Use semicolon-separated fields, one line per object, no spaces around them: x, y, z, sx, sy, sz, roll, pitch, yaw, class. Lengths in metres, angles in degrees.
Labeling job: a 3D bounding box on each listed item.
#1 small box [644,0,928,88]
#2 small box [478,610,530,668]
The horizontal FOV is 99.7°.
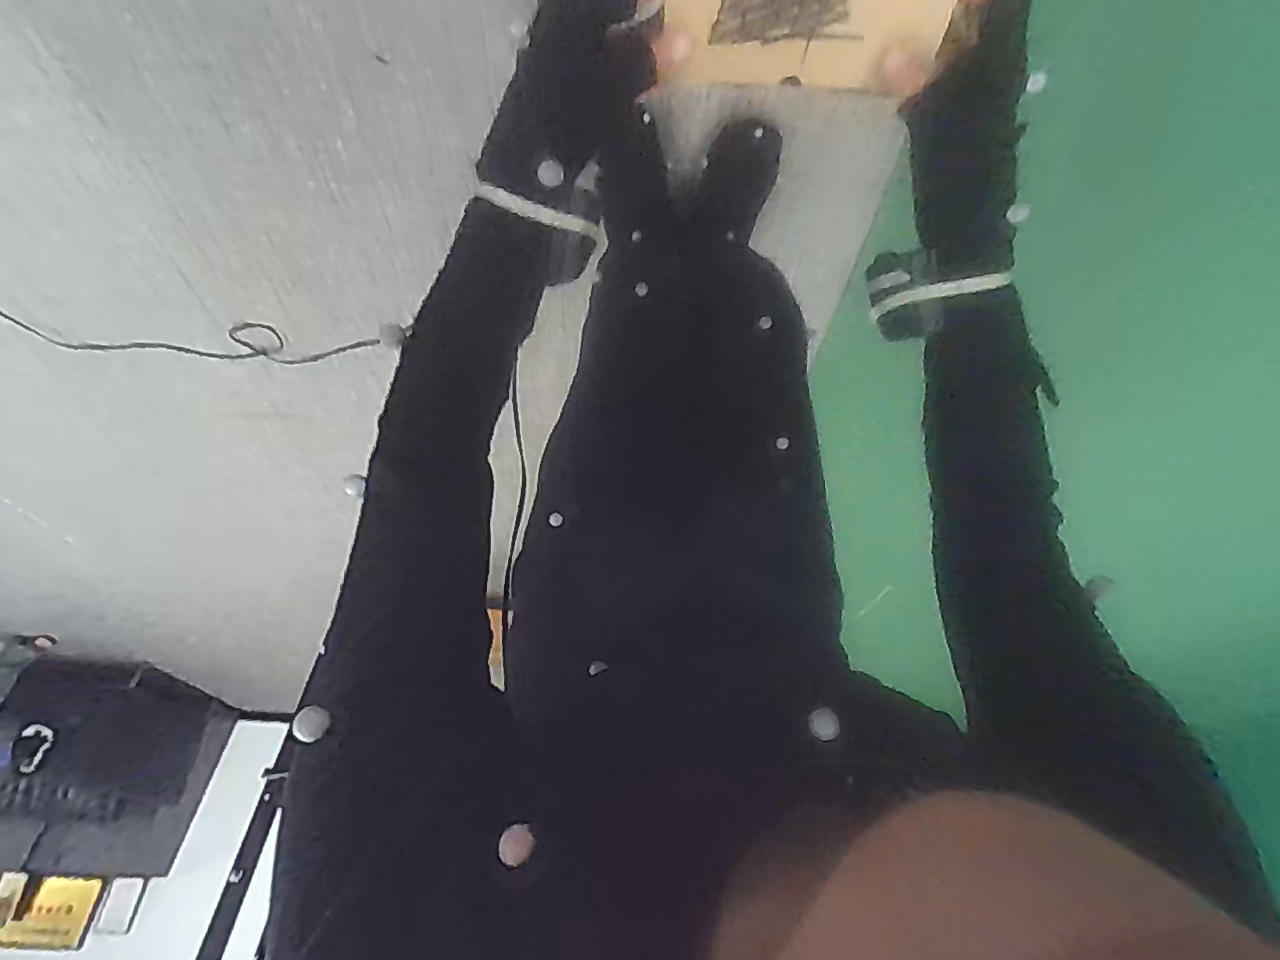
0.095;-0.373;0.320;0.168;0.176;0.179;6;147;3;small box
-0.554;0.655;2.228;0.168;0.176;0.179;6;141;-2;small box
